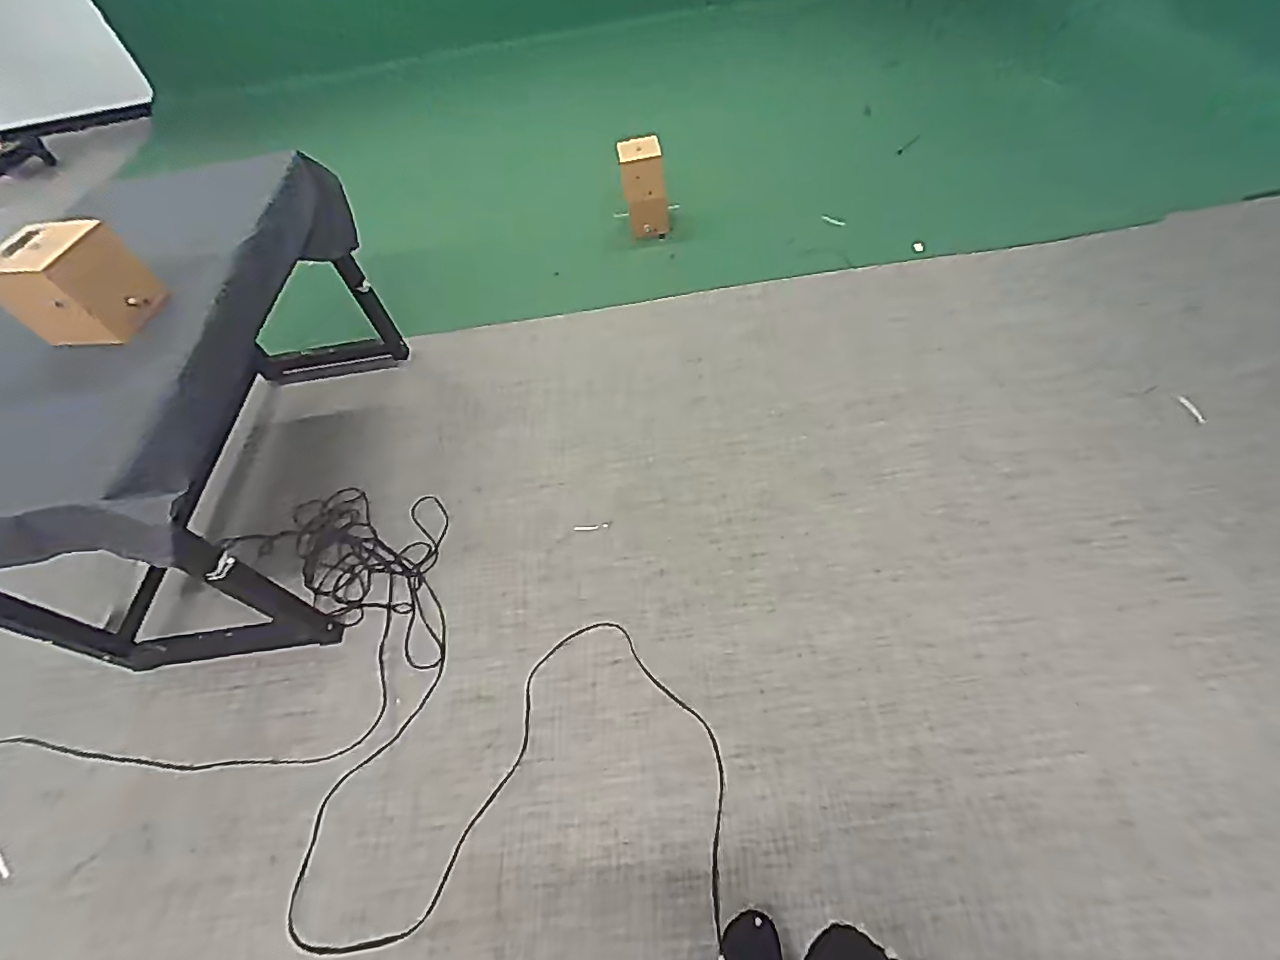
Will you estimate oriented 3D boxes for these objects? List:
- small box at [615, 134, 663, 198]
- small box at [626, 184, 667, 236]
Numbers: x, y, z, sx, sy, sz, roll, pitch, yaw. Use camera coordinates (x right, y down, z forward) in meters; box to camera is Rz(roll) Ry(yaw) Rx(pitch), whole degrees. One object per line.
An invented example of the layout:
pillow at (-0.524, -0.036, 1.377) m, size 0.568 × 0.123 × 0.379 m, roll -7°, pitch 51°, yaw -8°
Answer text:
small box at (-0.003, -1.285, 2.225) m, size 0.168 × 0.176 × 0.179 m, roll -10°, pitch 54°, yaw 2°
small box at (0.025, -1.198, 2.360) m, size 0.168 × 0.176 × 0.179 m, roll -9°, pitch 56°, yaw 3°
